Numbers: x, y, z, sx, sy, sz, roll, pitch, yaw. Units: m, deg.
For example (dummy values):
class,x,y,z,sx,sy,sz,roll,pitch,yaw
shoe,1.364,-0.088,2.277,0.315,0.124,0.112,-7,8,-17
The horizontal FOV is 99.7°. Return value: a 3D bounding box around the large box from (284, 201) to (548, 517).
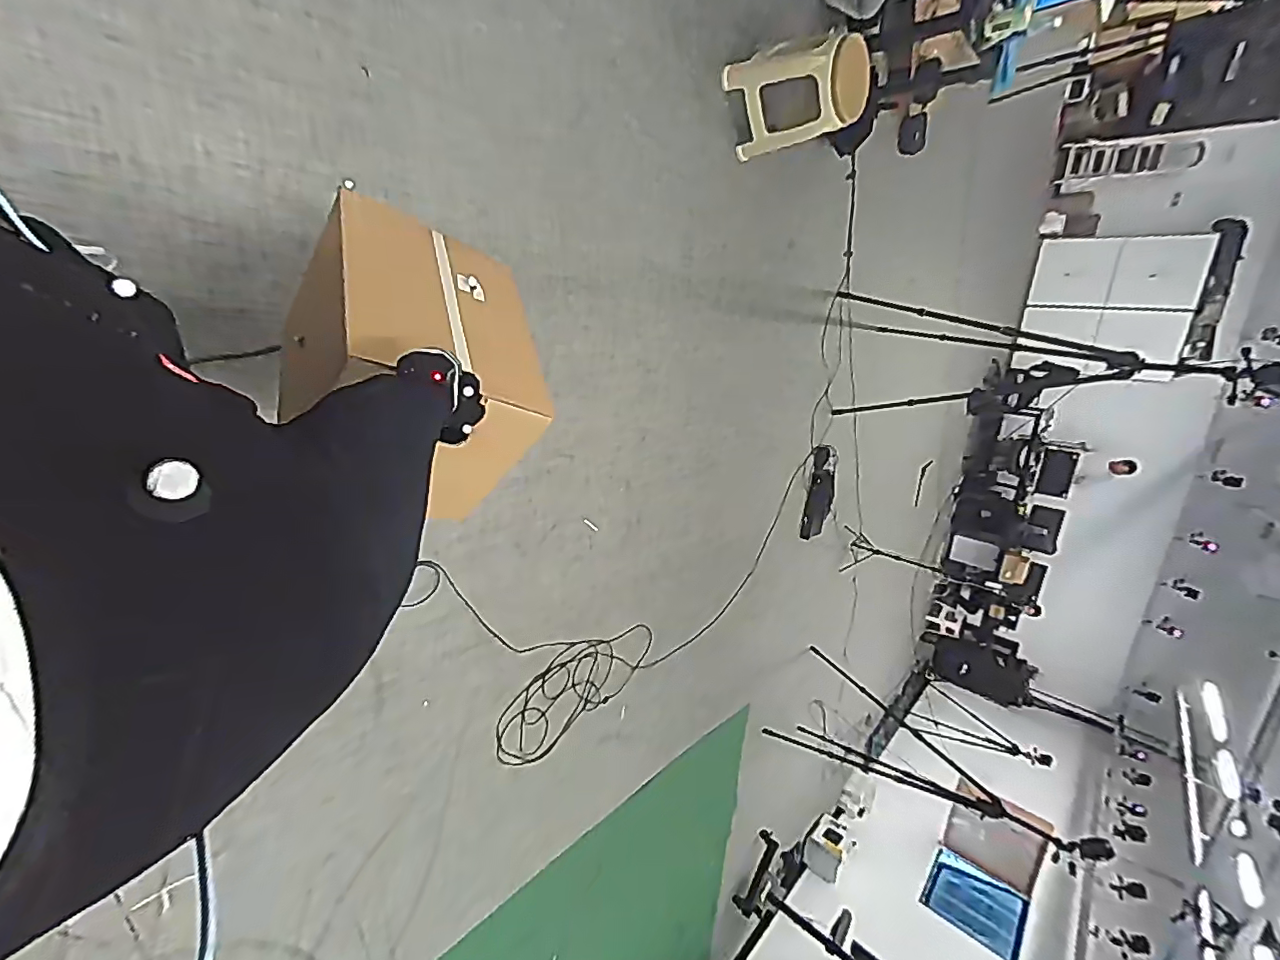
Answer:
class,x,y,z,sx,sy,sz,roll,pitch,yaw
large box,-0.414,-0.188,0.956,0.320,0.408,0.320,14,133,-44
